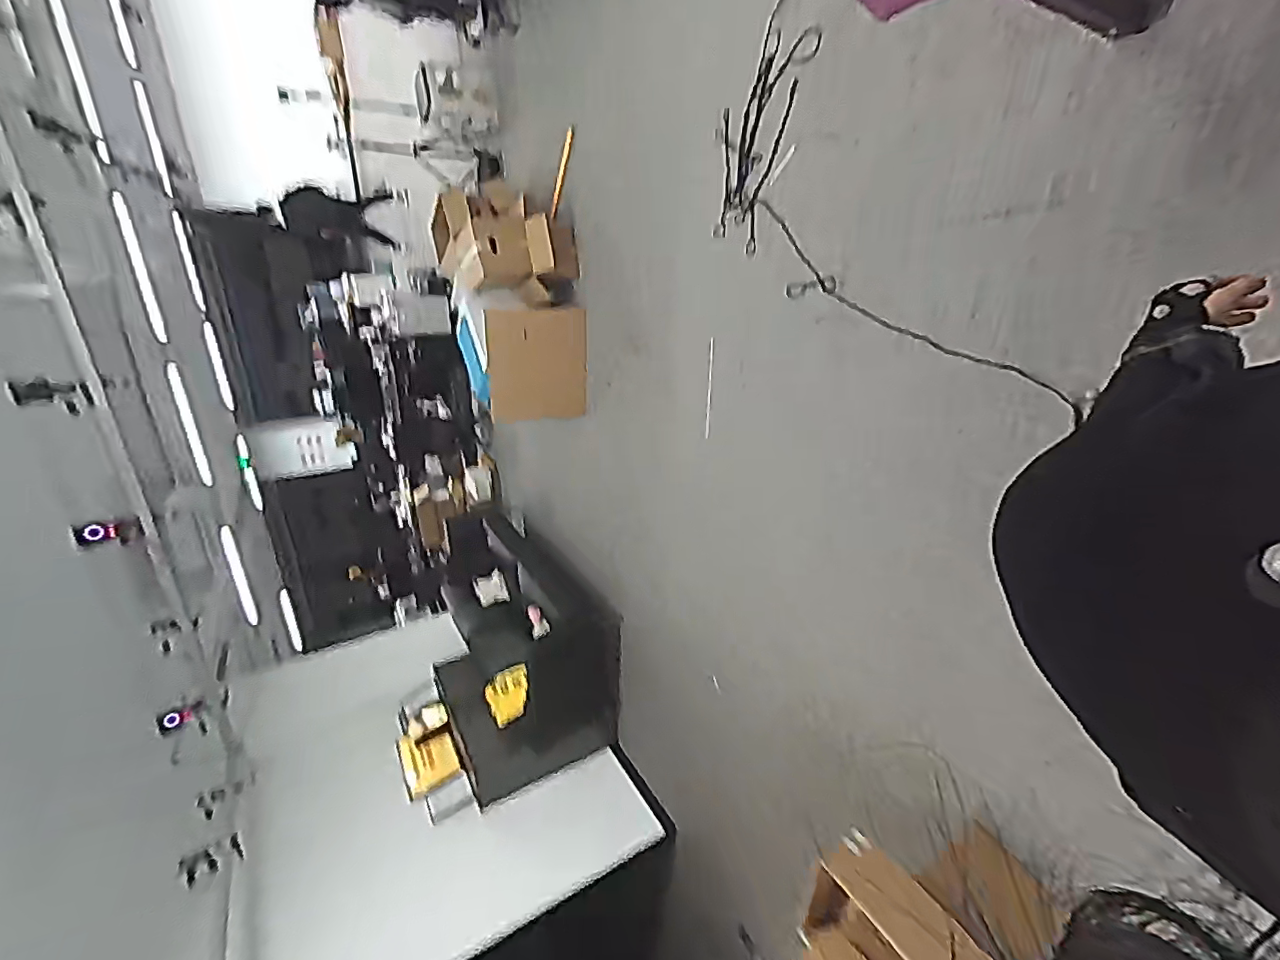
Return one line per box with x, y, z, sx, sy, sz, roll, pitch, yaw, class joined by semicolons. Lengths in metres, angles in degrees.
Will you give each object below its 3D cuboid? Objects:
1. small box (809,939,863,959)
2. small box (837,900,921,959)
0.528;1.358;1.408;0.179;0.176;0.168;21;120;53;small box
0.654;1.338;1.518;0.168;0.176;0.179;43;135;42;small box
